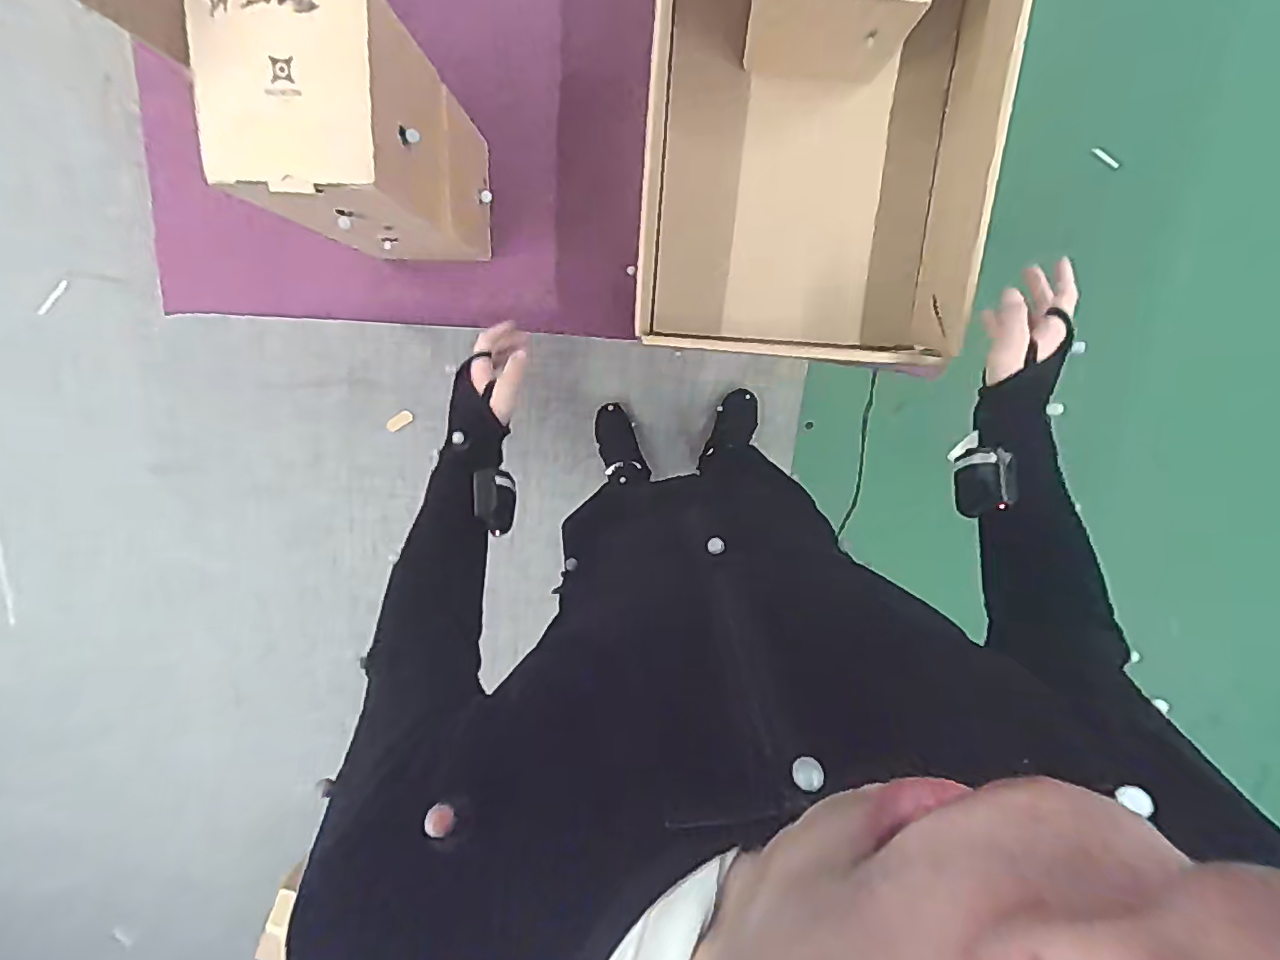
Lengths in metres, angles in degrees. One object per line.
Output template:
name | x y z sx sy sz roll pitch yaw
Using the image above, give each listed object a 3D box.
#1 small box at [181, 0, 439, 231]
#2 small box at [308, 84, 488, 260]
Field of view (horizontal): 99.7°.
small box | -0.321 -0.372 0.565 0.168 0.176 0.179 3 102 0
small box | -0.316 -0.399 0.726 0.179 0.176 0.168 2 101 1
